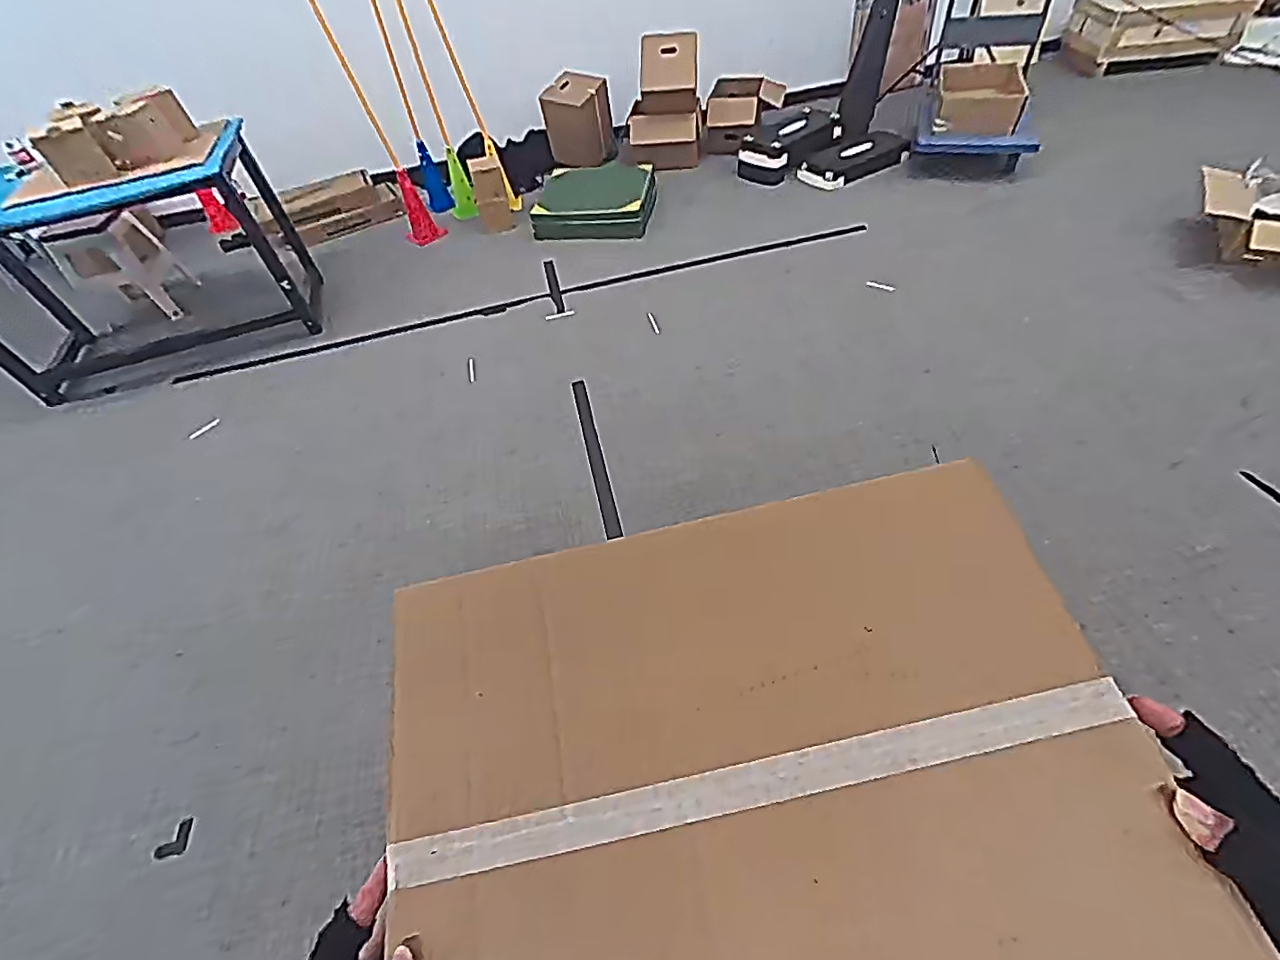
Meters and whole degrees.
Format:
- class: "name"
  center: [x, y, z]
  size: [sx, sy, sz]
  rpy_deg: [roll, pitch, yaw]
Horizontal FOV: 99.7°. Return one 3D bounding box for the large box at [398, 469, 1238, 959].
- class: "large box"
  center: [0.077, 0.235, 0.434]
  size: [0.408, 0.320, 0.320]
  rpy_deg: [-13, 61, 0]
